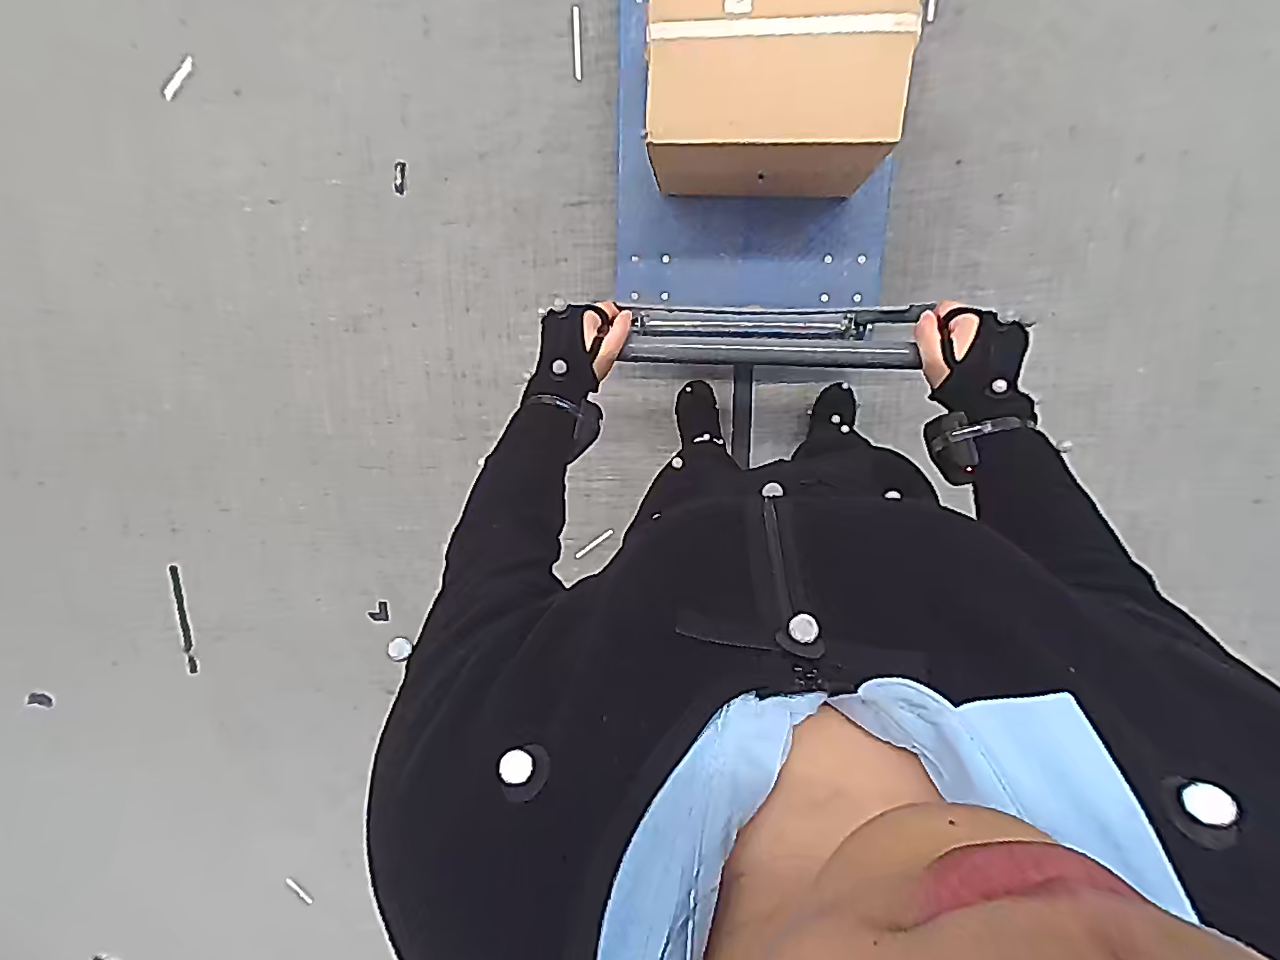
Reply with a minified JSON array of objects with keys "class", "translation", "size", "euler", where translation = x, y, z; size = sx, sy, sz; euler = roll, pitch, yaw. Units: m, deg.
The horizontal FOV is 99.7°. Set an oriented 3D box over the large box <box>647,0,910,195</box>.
[{"class":"large box","translation":[0.233,-0.731,0.992],"size":[0.408,0.320,0.320],"euler":[4,103,7]}]
